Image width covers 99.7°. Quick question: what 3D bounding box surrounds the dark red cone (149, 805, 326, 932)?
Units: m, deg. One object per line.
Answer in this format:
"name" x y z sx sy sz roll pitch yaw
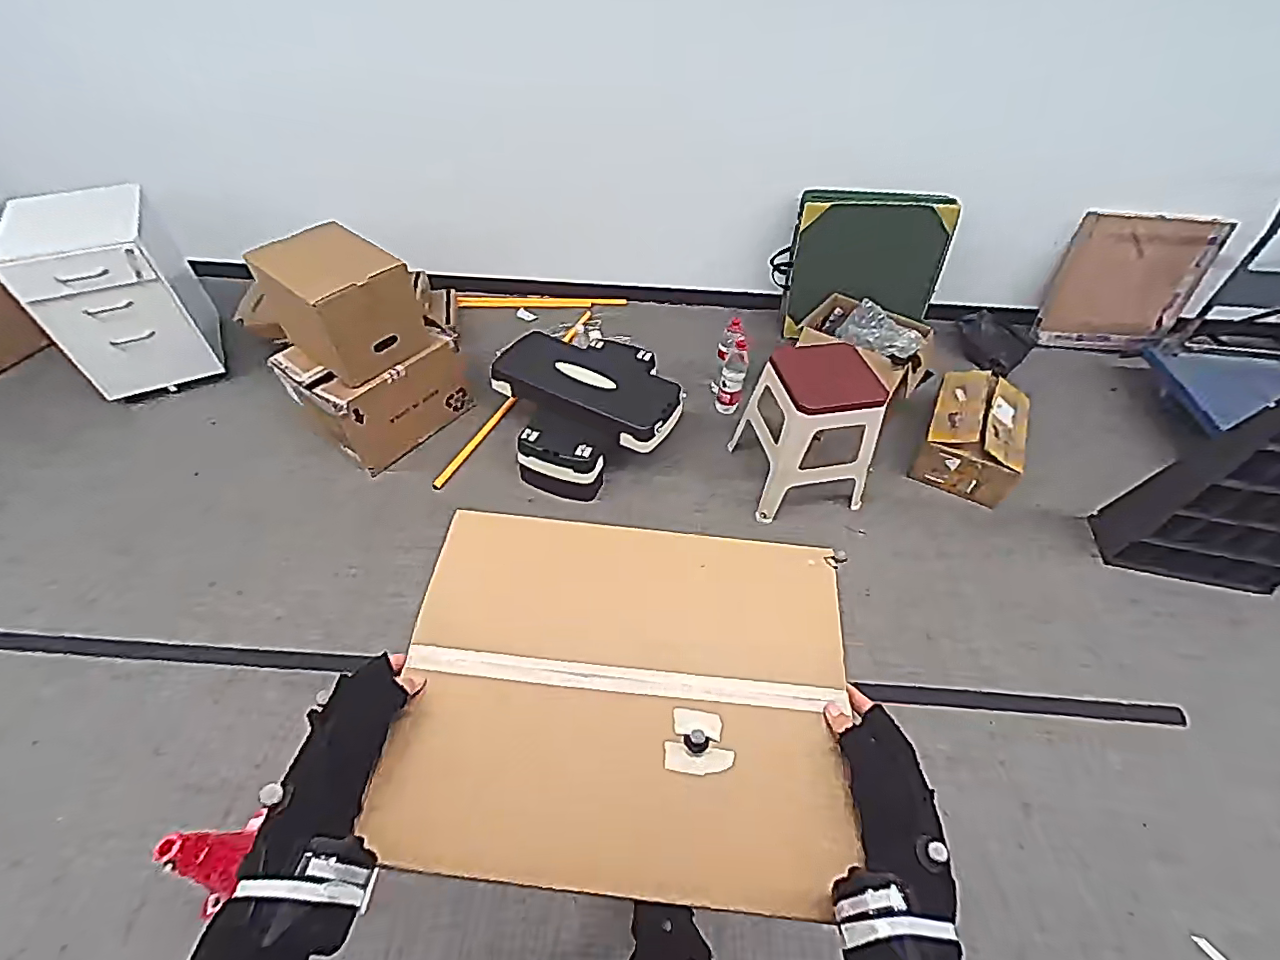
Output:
"dark red cone" -0.794 0.710 1.027 0.201 0.394 0.202 10 50 4

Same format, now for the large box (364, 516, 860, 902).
"large box" -0.018 0.266 0.629 0.408 0.320 0.320 6 57 1
